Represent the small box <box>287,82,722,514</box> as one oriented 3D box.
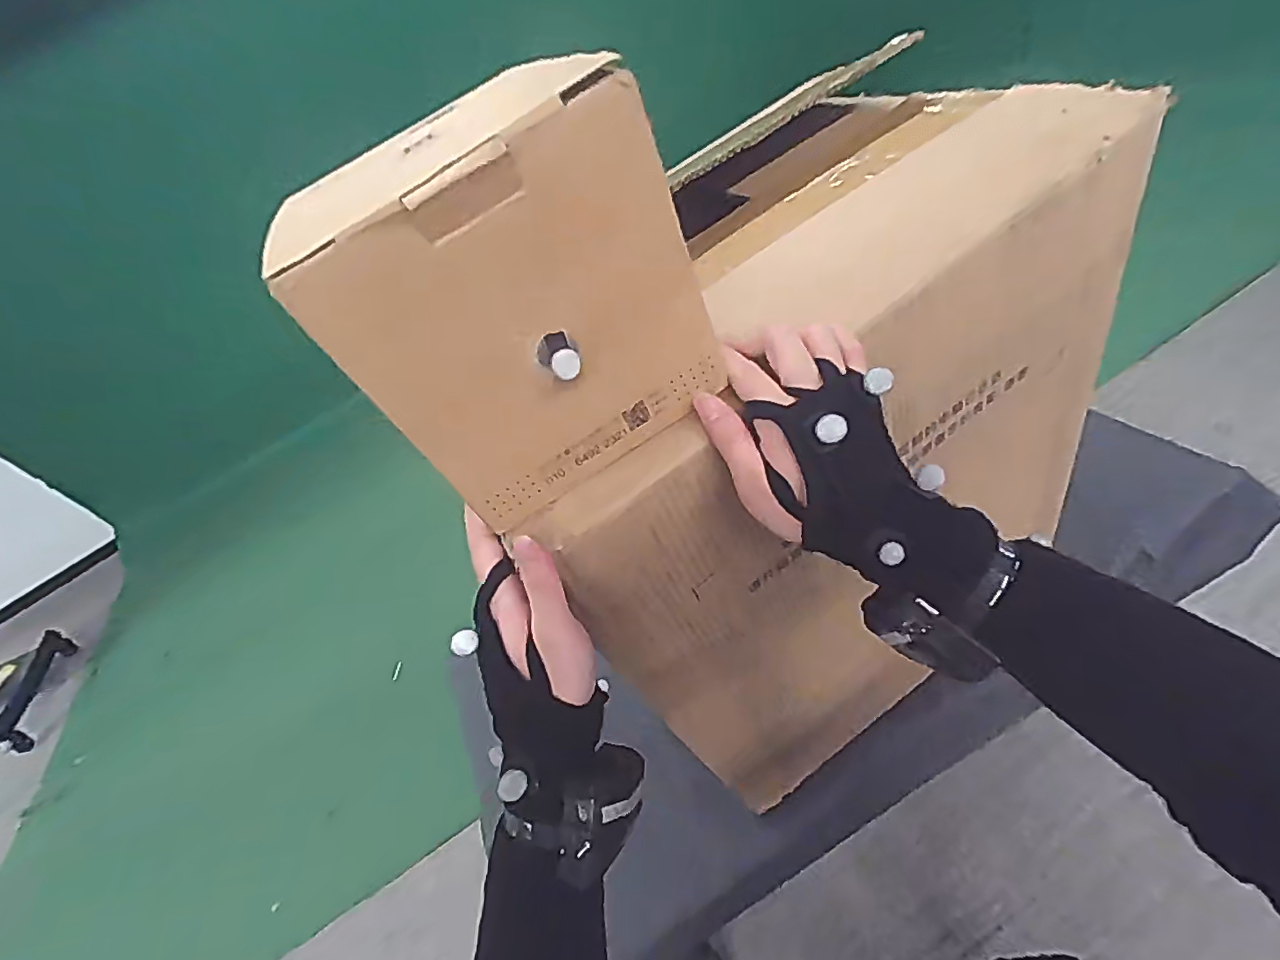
[{"bbox_3d":[-0.073,-0.103,0.327,0.168,0.176,0.179,-33,43,-5],"label":"small box"}]
